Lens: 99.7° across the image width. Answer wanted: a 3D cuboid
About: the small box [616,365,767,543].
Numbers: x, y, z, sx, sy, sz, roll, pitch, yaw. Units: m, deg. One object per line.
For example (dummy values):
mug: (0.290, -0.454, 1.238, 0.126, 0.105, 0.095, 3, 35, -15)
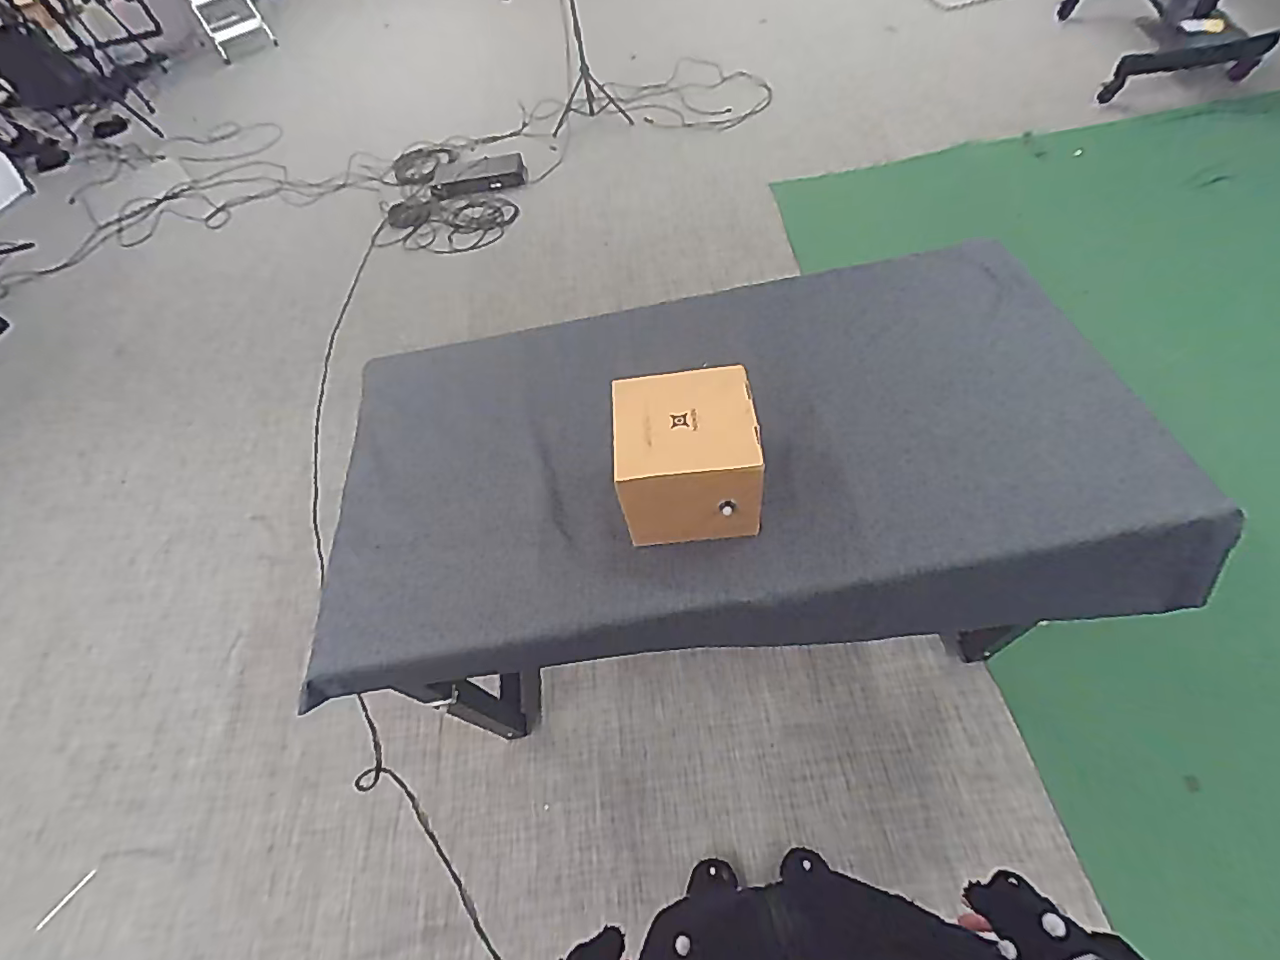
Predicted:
small box: (0.068, -0.029, 0.736, 0.179, 0.176, 0.168, -7, 55, 6)
